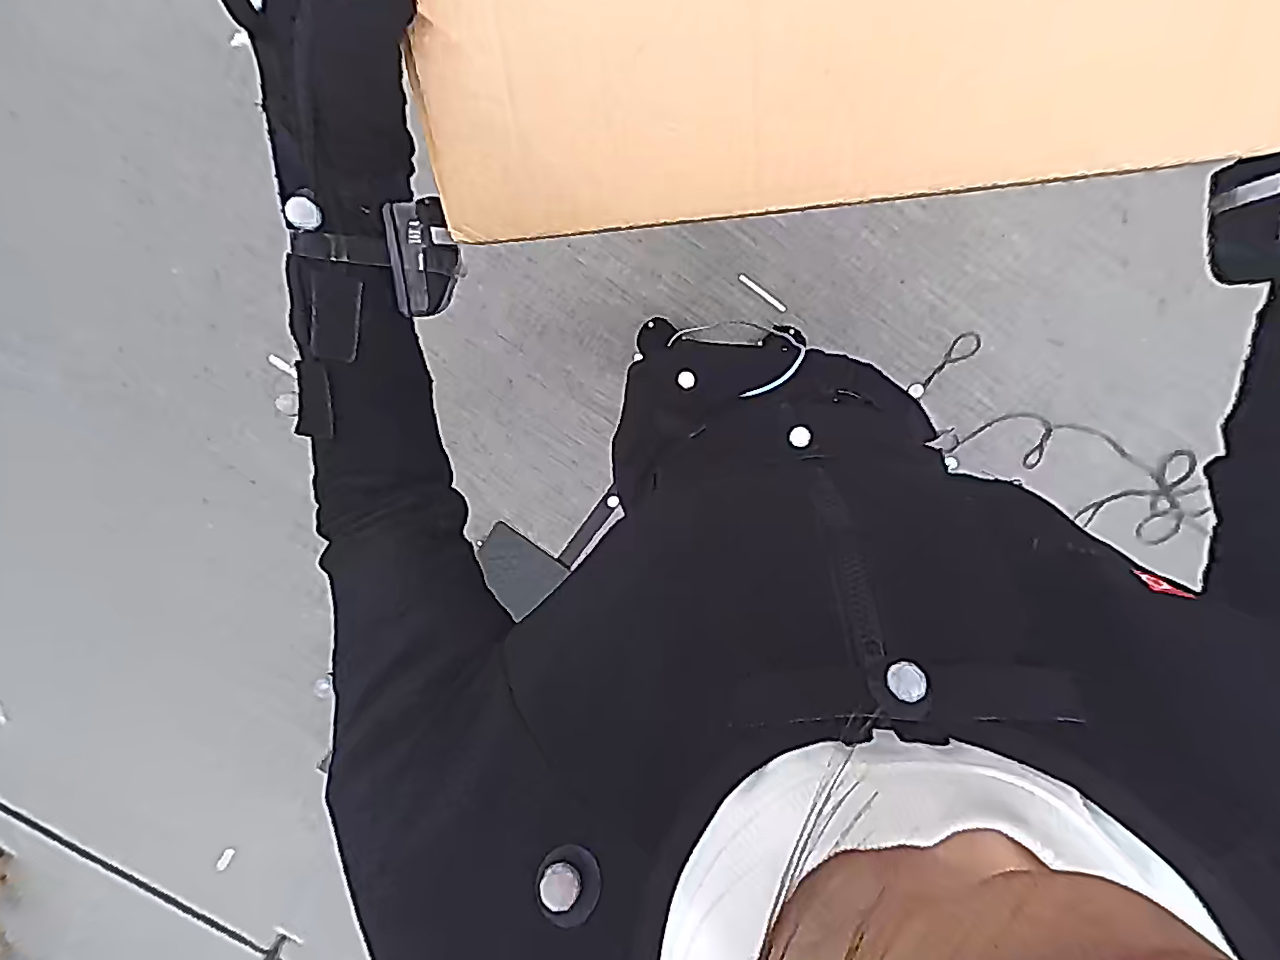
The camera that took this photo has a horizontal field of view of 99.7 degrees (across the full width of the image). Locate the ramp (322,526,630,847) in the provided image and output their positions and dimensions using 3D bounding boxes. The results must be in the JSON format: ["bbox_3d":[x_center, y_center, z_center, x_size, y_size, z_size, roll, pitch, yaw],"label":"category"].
[{"bbox_3d":[-0.518,0.658,1.674,0.509,0.206,0.991,36,107,-4],"label":"ramp"}]

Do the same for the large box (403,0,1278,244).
[{"bbox_3d":[0.084,-0.356,0.353,0.408,0.320,0.320,-4,117,7],"label":"large box"}]
